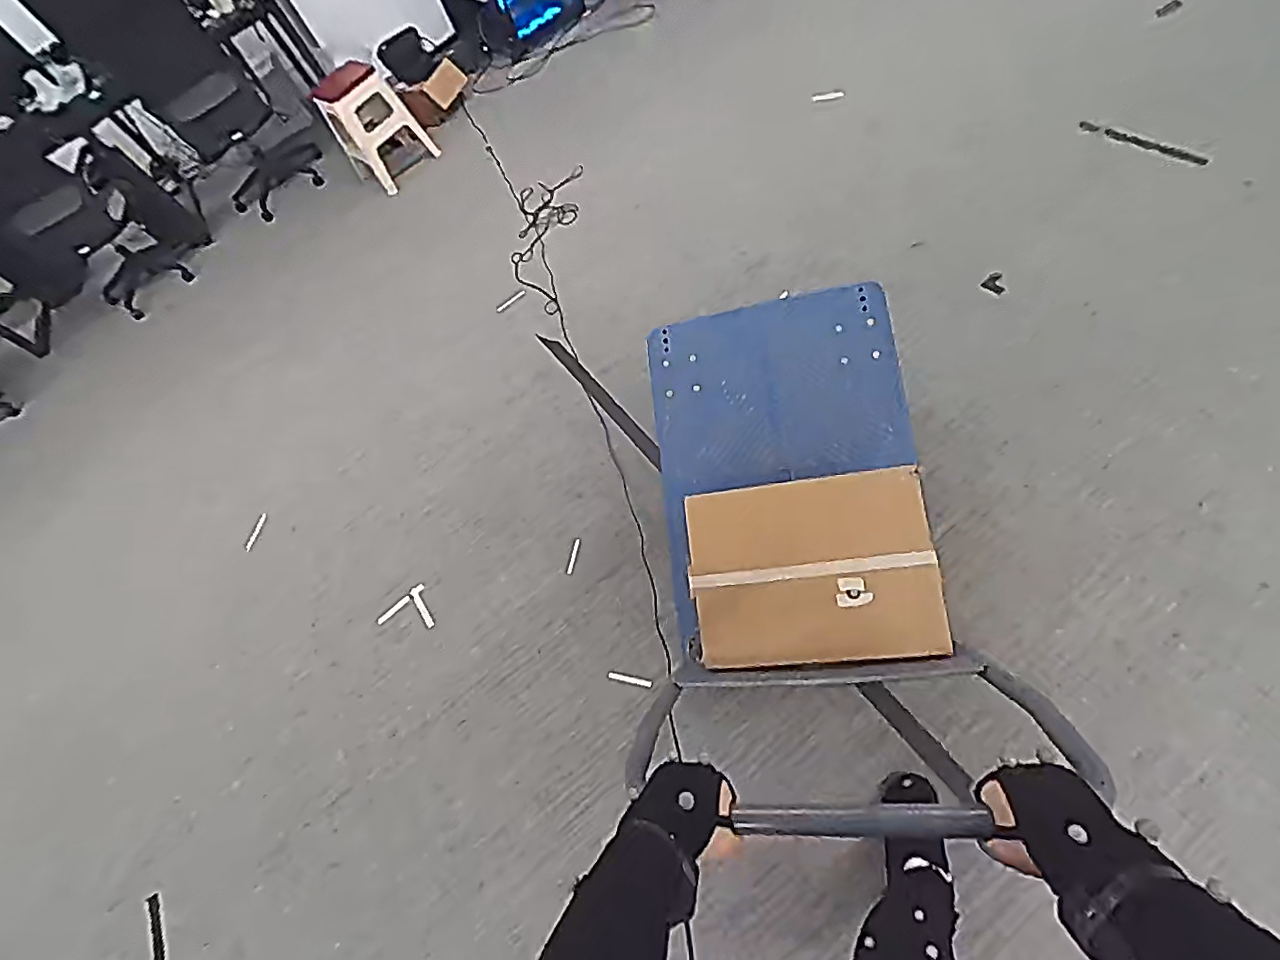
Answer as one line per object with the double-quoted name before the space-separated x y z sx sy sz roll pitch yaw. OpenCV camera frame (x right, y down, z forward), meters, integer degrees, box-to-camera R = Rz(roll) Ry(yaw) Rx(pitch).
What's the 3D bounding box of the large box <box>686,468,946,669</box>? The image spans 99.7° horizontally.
"large box" 0.330 0.181 1.096 0.408 0.320 0.320 -9 80 13
